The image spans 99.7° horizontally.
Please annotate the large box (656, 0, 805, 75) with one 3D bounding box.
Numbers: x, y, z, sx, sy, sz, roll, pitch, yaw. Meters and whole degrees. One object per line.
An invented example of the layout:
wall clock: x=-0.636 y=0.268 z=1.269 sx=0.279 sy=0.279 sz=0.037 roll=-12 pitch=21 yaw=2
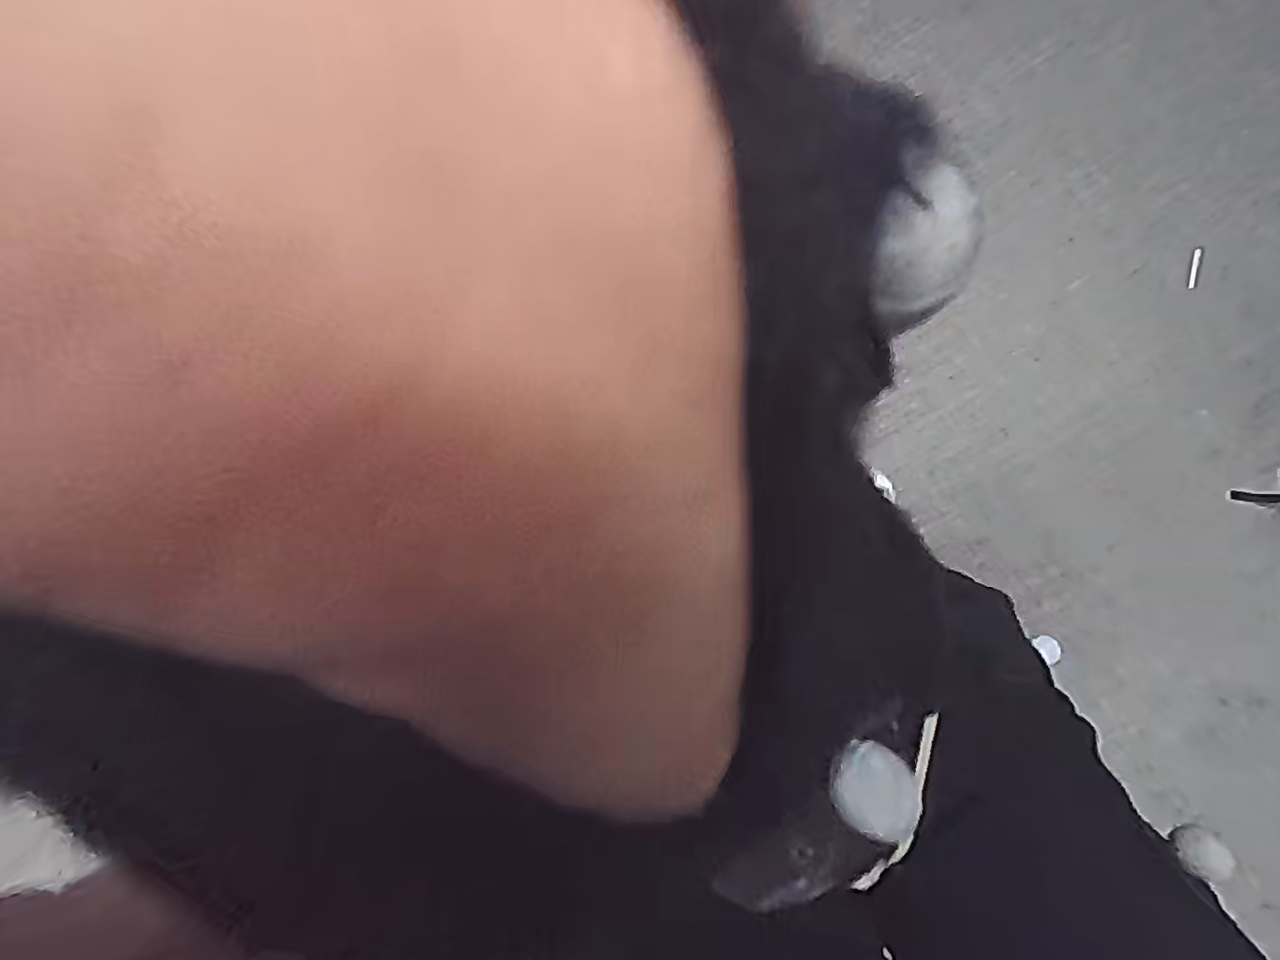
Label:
large box: x=0.213 y=-1.392 z=1.406 sx=0.320 sy=0.320 sz=0.408 roll=-25 pitch=76 yaw=4
